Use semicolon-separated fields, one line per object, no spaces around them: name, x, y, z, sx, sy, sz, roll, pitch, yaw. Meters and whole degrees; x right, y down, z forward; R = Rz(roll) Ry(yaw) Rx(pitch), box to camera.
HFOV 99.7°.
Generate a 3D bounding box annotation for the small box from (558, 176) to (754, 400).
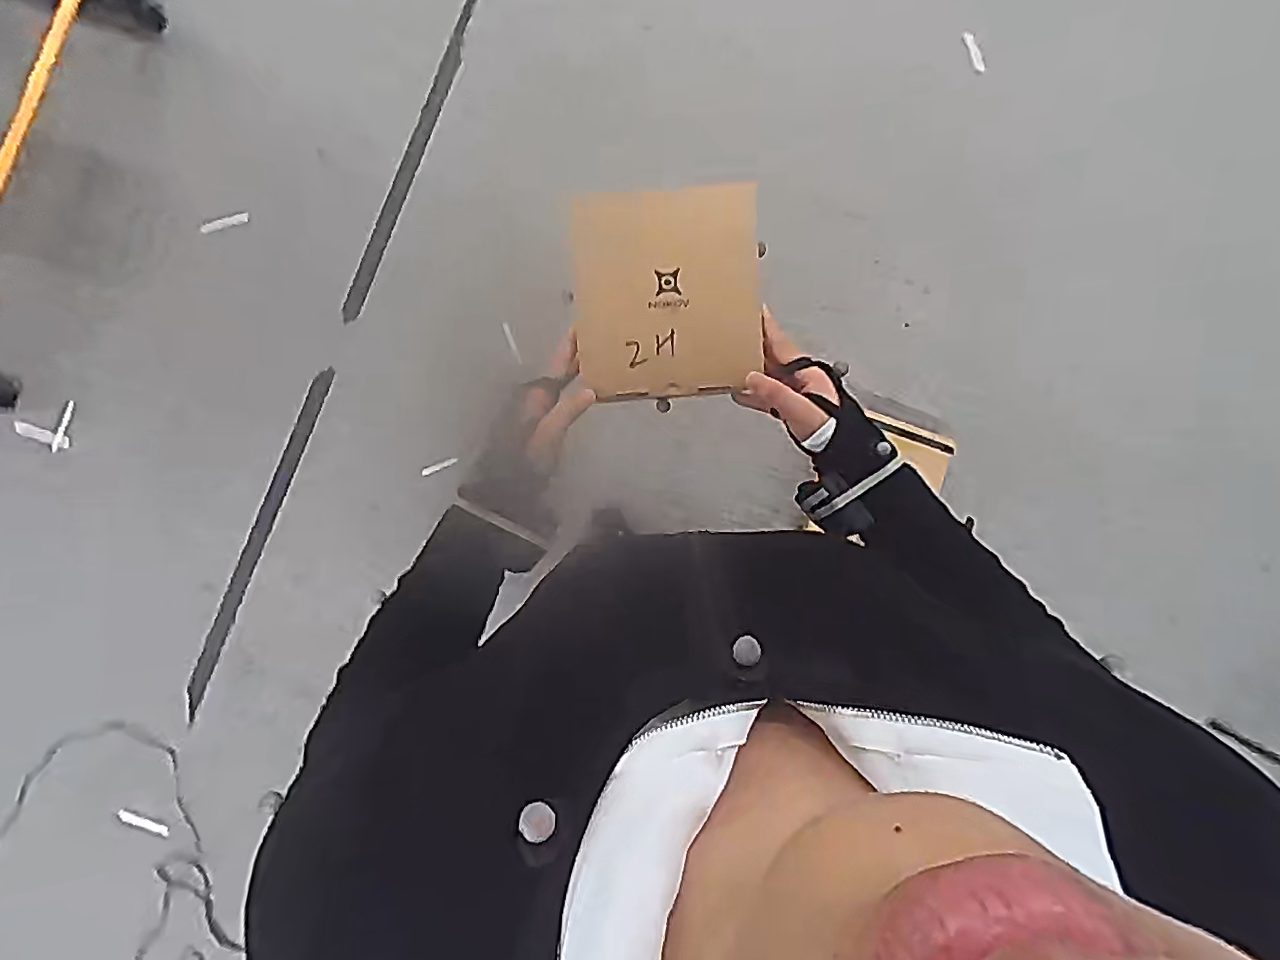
small box;0.012;-0.178;0.550;0.168;0.176;0.179;-5;97;-1
